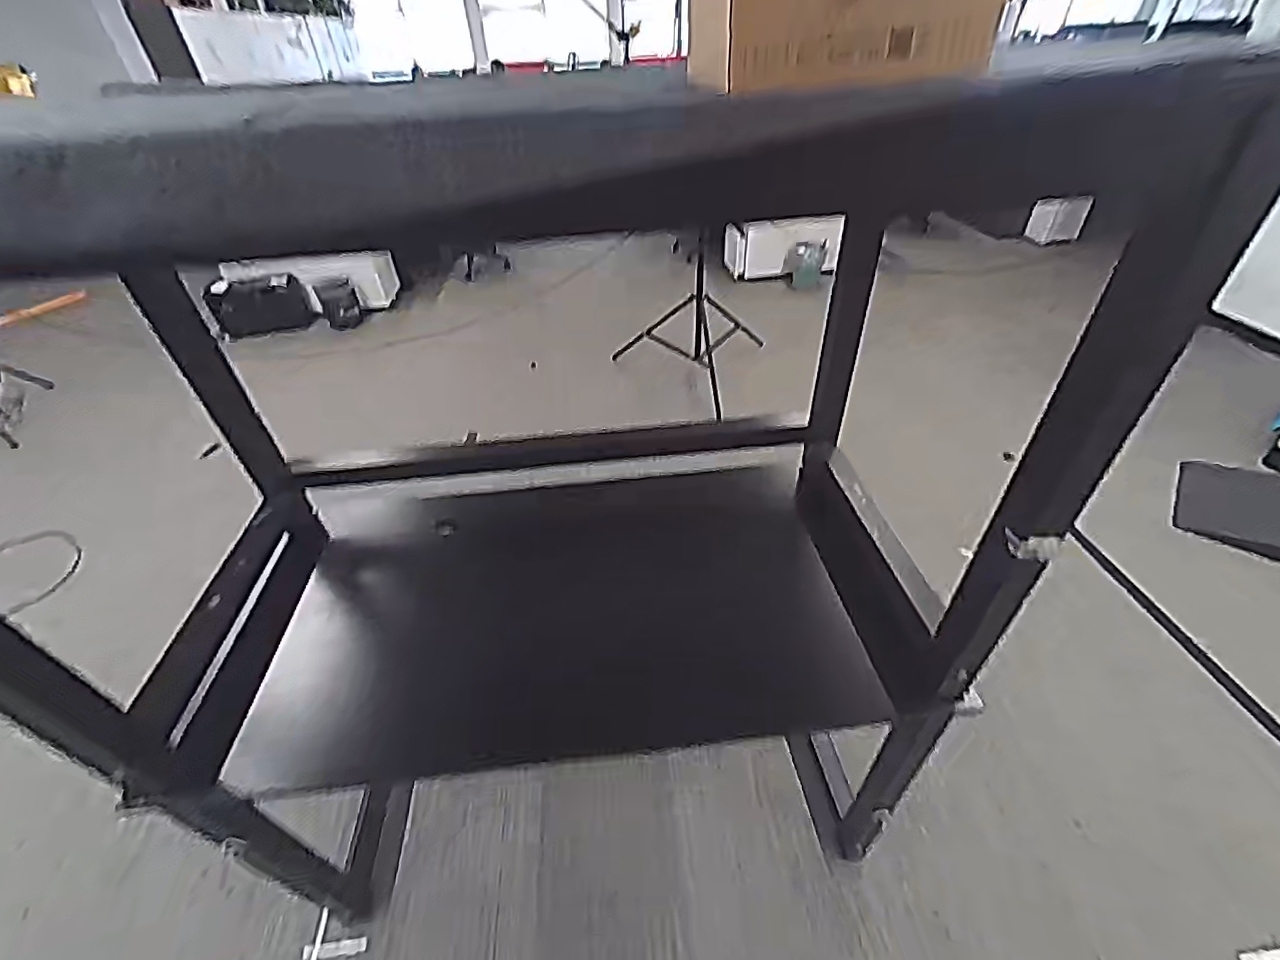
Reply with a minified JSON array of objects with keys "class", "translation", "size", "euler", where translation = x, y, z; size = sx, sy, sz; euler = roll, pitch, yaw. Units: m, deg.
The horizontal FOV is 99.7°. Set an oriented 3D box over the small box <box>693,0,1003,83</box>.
[{"class":"small box","translation":[0.125,-0.366,0.349],"size":[0.168,0.176,0.179],"euler":[-6,39,-1]}]
